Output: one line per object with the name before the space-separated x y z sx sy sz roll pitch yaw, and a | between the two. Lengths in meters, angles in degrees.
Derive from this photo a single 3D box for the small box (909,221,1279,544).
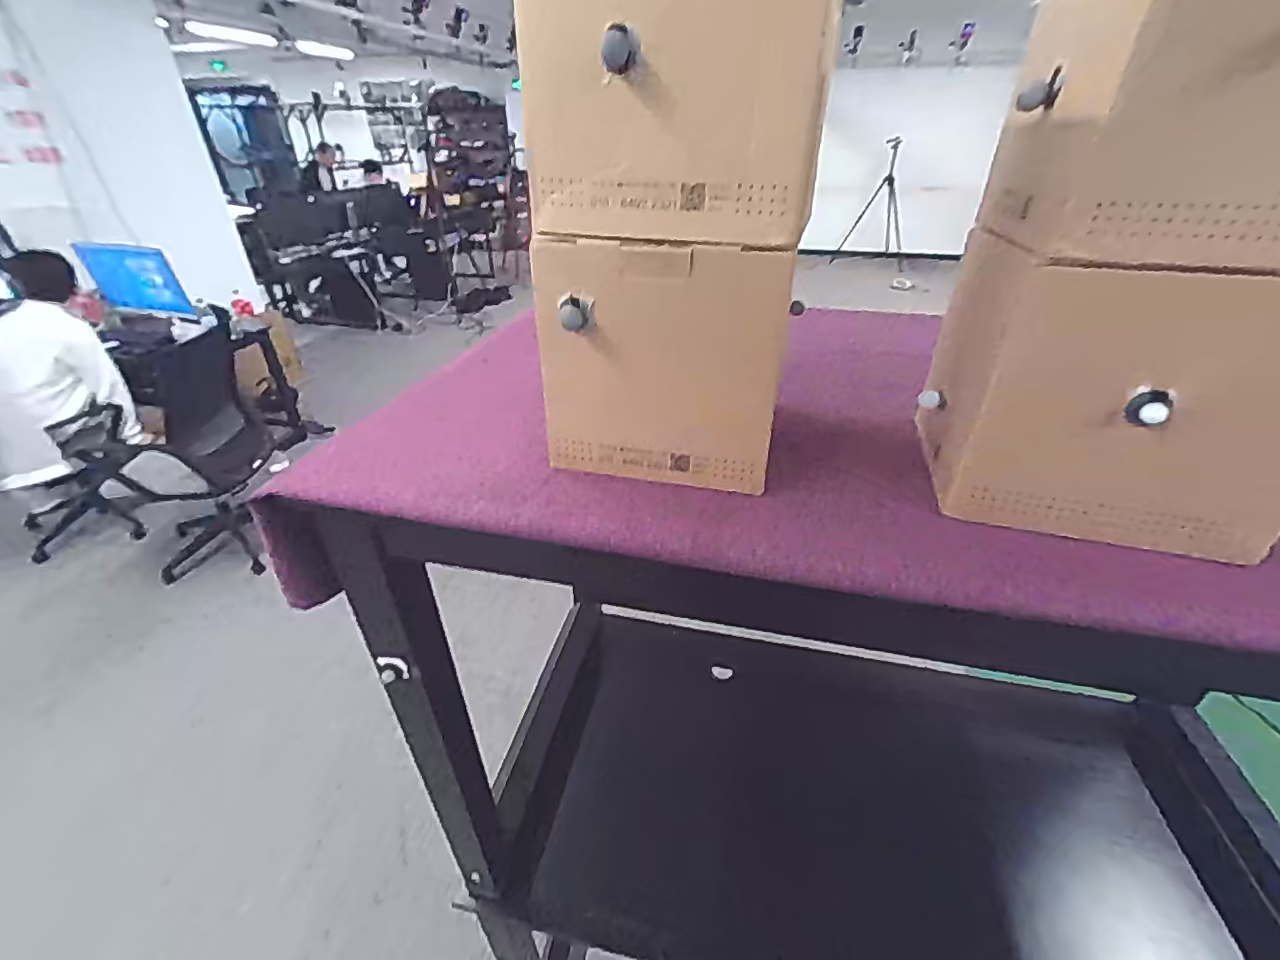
small box | 0.307 -0.075 0.376 0.179 0.176 0.168 8 33 16

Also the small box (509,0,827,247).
small box | 0.030 -0.256 0.360 0.168 0.176 0.179 9 32 15
